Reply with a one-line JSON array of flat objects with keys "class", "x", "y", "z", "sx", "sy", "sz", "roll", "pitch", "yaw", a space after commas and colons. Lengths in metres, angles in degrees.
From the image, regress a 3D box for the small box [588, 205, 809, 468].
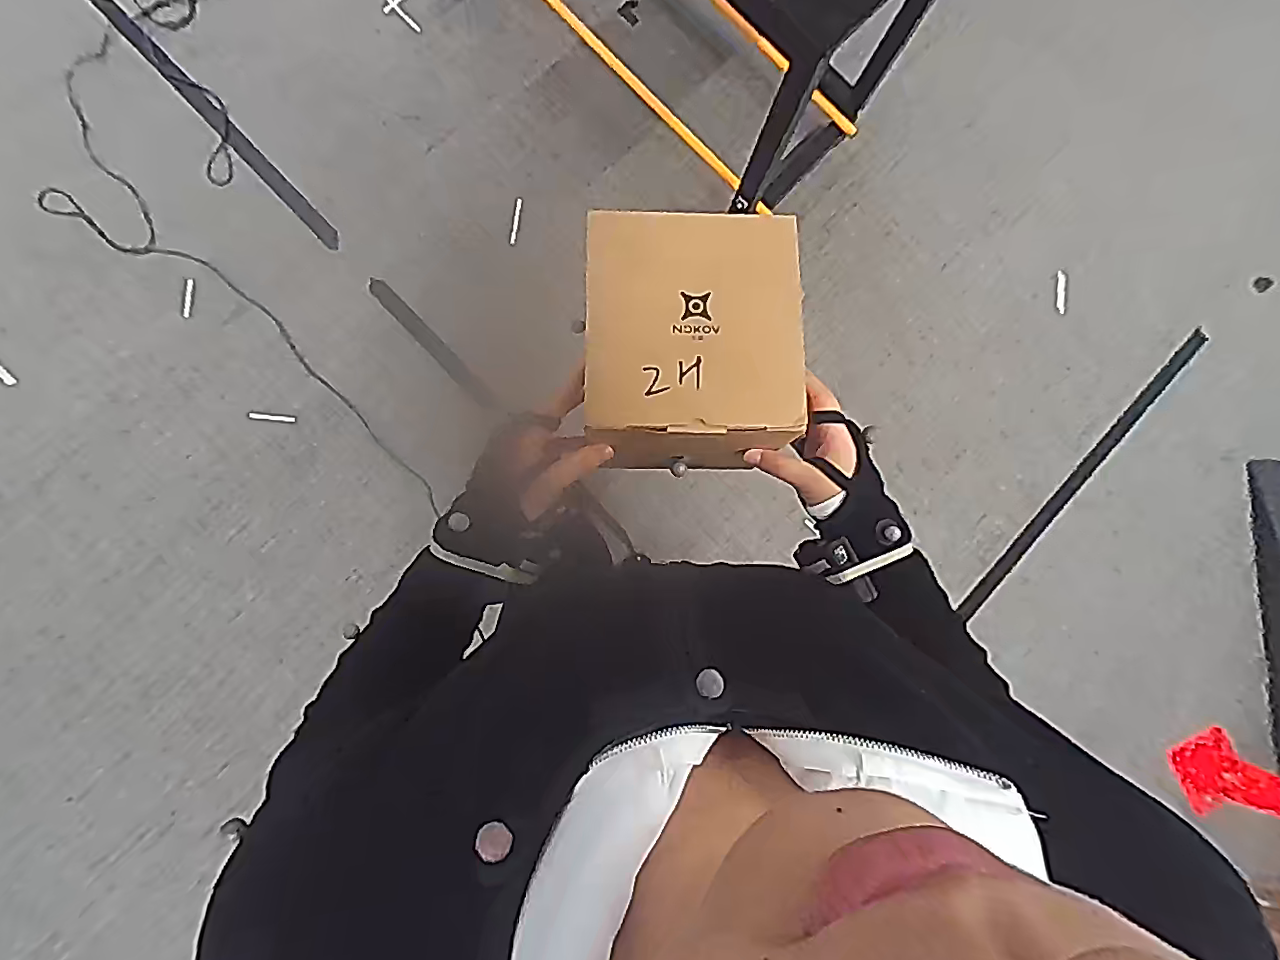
[{"class": "small box", "x": 0.040, "y": -0.114, "z": 0.486, "sx": 0.168, "sy": 0.176, "sz": 0.179, "roll": 0, "pitch": 81, "yaw": -2}]
